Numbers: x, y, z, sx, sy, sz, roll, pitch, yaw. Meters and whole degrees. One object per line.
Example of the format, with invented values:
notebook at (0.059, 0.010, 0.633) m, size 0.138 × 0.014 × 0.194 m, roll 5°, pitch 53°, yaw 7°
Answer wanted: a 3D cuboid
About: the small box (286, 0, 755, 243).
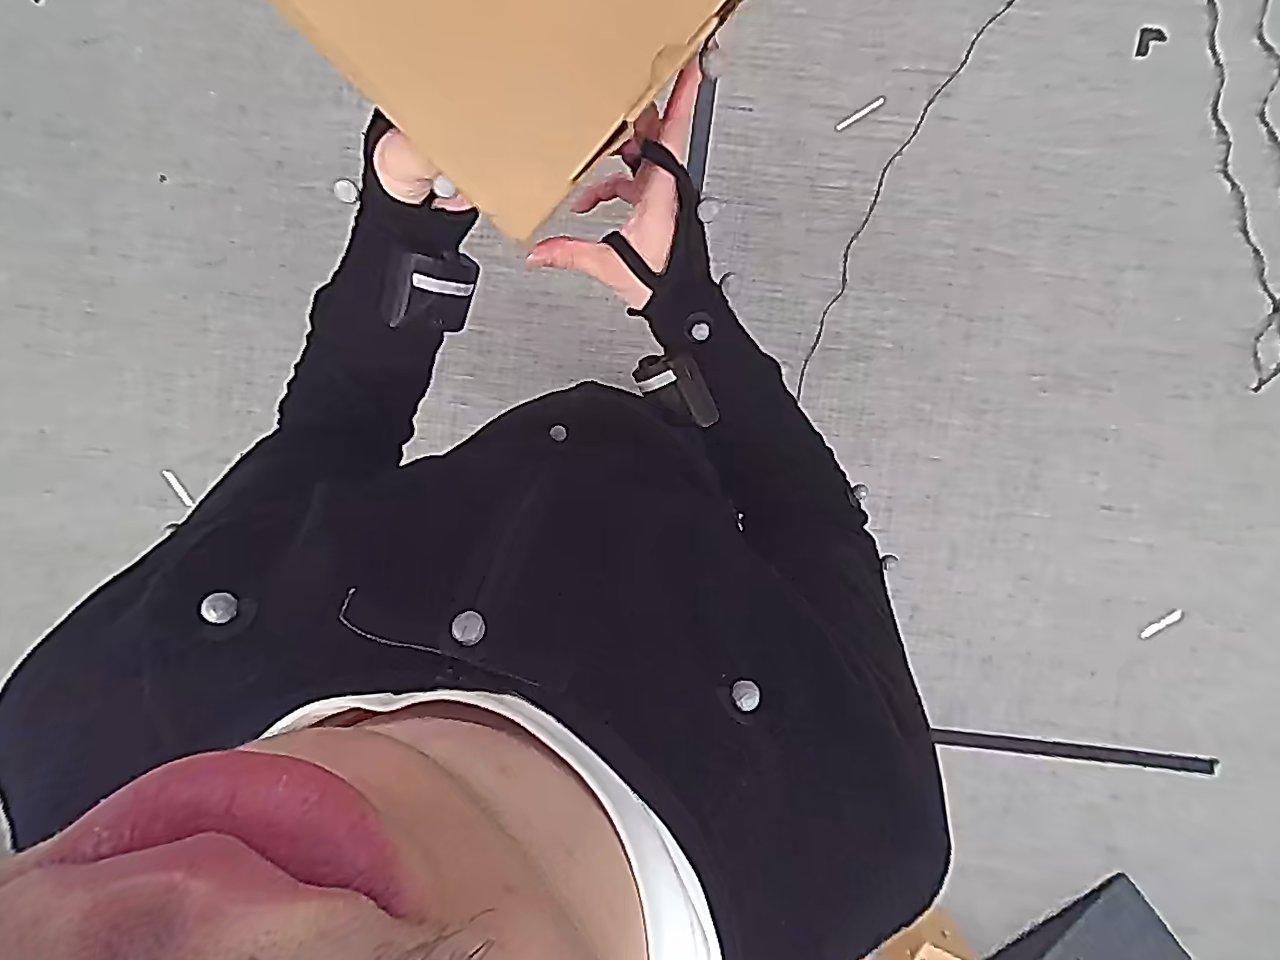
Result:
small box at (-0.056, -0.237, 0.238) m, size 0.179 × 0.176 × 0.168 m, roll 39°, pitch 104°, yaw -24°
